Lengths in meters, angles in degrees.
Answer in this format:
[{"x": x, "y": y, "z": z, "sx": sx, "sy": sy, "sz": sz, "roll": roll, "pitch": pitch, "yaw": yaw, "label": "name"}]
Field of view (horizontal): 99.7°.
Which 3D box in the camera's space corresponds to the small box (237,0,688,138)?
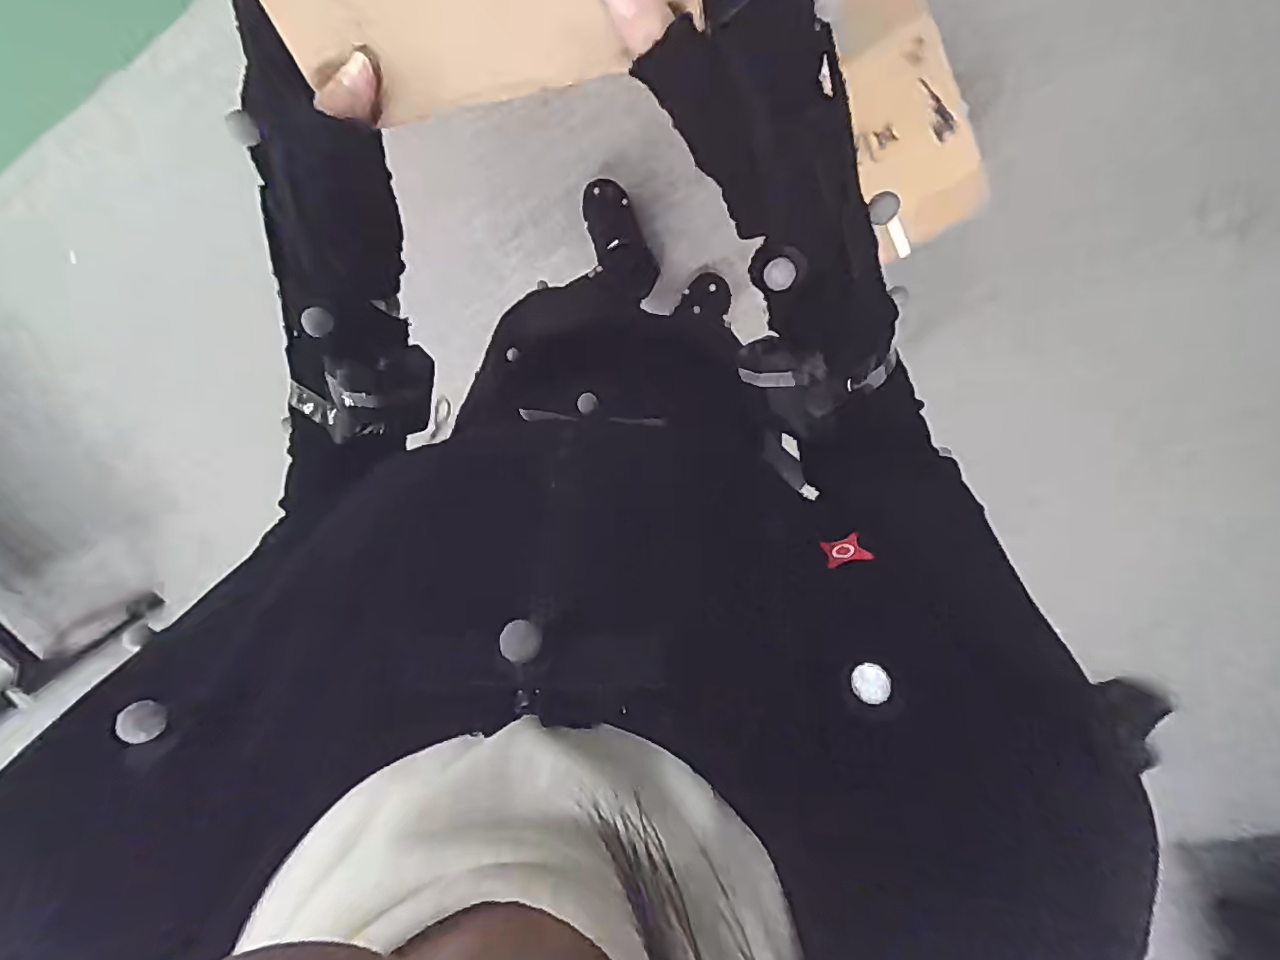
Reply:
[{"x": -0.078, "y": -0.279, "z": 0.219, "sx": 0.179, "sy": 0.176, "sz": 0.168, "roll": -4, "pitch": 144, "yaw": 12, "label": "small box"}]
